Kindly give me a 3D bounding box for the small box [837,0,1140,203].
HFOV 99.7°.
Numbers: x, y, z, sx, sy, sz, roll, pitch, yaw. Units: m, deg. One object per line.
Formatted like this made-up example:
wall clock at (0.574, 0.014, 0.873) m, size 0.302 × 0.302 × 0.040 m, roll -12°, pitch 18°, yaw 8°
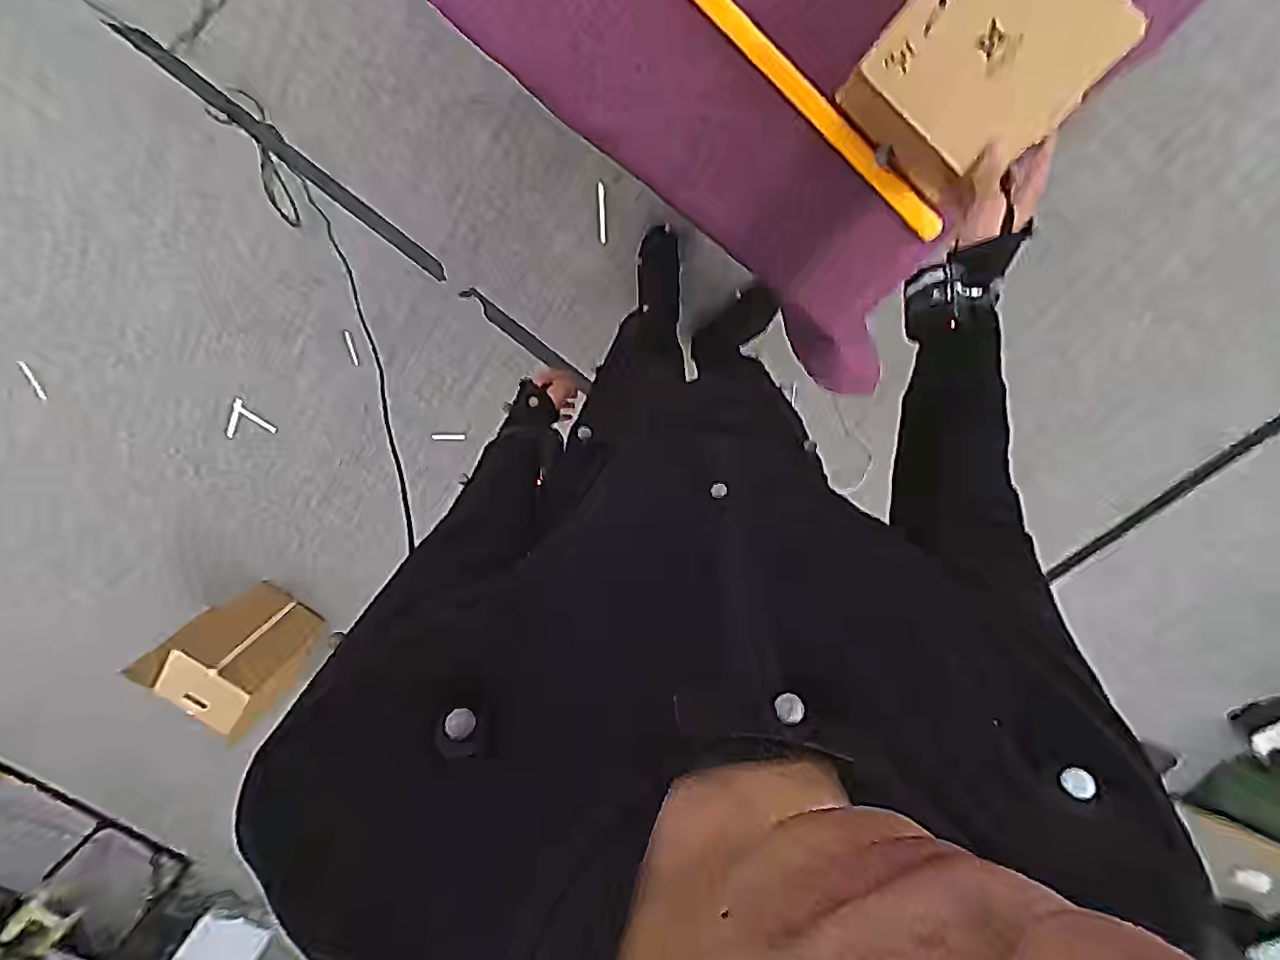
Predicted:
small box at (0.334, -0.417, 0.559) m, size 0.179 × 0.176 × 0.168 m, roll 40°, pitch 116°, yaw -9°
